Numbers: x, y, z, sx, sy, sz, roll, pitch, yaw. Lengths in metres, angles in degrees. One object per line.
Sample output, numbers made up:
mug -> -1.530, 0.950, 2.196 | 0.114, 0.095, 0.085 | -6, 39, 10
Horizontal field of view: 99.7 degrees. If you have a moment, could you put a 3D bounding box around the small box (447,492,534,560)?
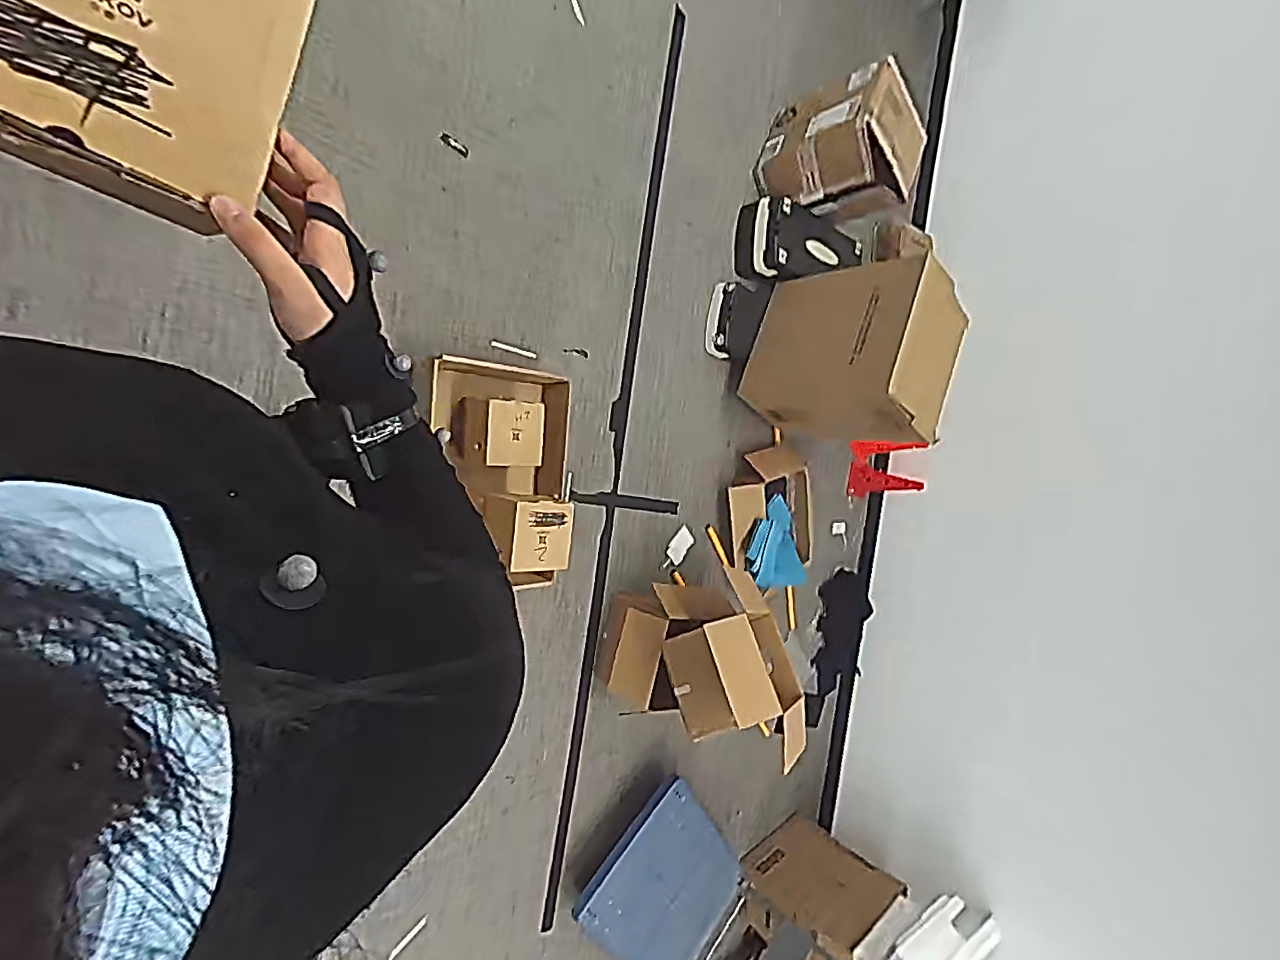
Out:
small box -> -0.420, 0.124, 1.517 | 0.179, 0.176, 0.168 | 2, 94, -41

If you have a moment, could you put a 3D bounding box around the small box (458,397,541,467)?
small box -> -0.394, -0.134, 1.499 | 0.168, 0.176, 0.179 | 0, 97, -42

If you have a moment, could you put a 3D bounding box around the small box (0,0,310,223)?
small box -> -0.326, -0.277, 0.325 | 0.168, 0.176, 0.179 | 15, 94, -49
